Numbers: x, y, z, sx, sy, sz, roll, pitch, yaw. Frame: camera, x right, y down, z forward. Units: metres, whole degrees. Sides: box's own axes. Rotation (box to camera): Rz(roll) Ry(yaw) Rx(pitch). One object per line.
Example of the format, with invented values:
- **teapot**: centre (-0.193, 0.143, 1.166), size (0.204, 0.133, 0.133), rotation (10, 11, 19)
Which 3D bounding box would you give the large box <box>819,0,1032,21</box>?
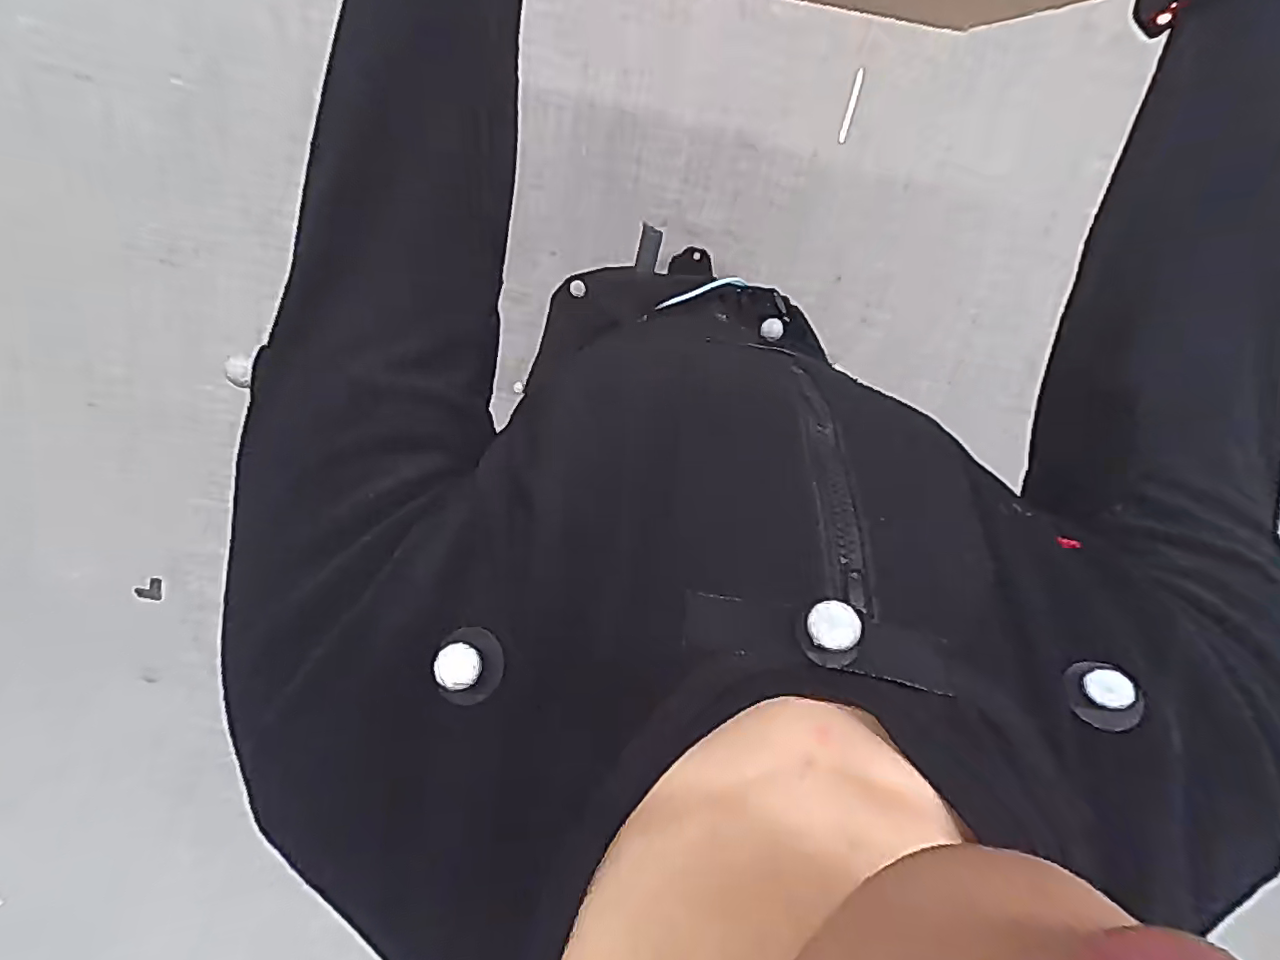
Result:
- **large box**: centre (0.169, -0.574, 0.389), size (0.408, 0.320, 0.320), rotation (8, 127, -3)
